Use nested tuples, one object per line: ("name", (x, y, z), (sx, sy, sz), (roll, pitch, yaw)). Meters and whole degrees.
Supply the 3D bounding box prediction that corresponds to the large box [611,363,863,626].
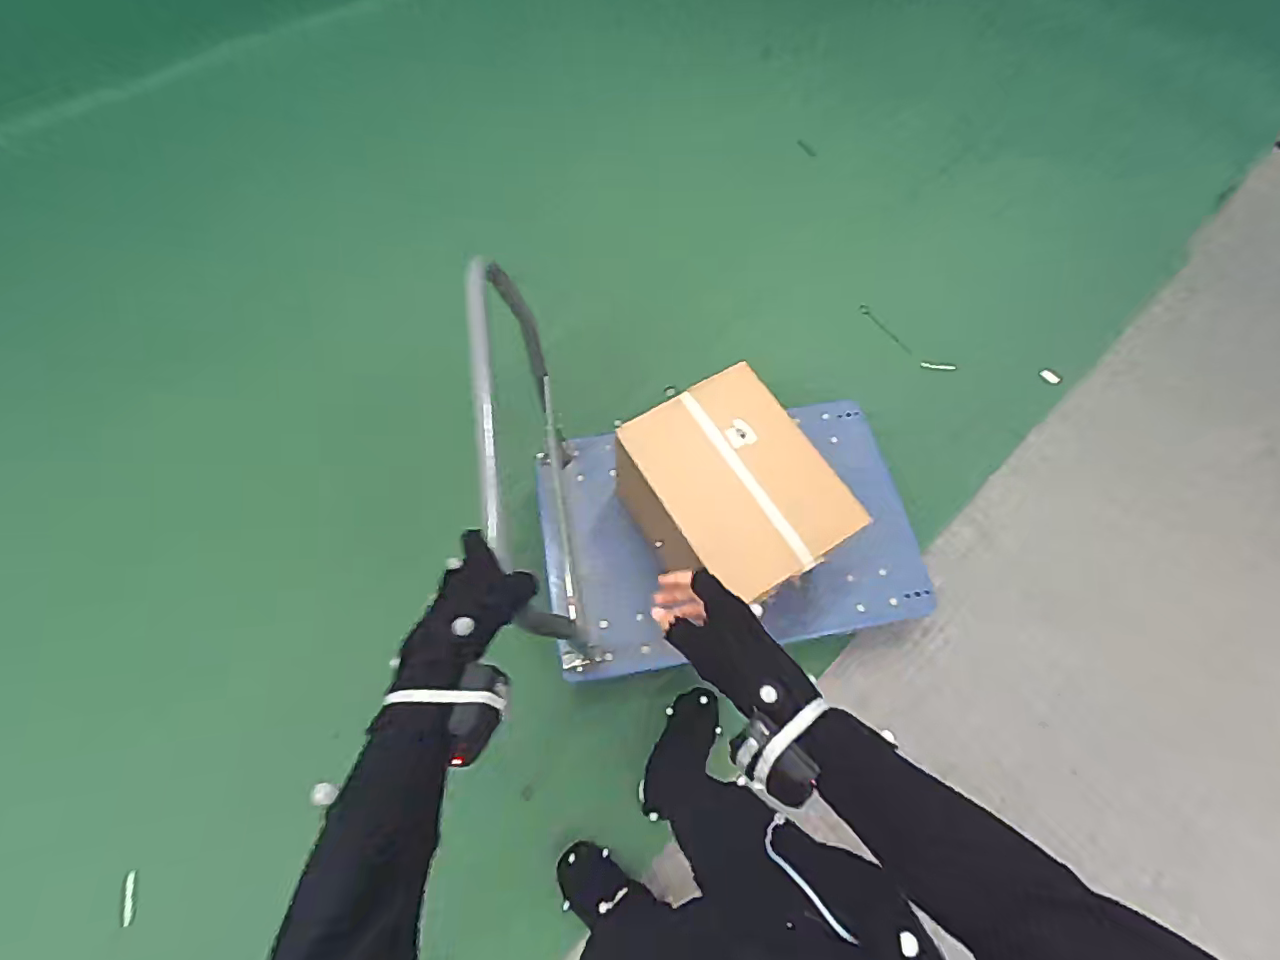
("large box", (0.174, 0.042, 1.148), (0.320, 0.320, 0.408), (-28, 70, -14))
